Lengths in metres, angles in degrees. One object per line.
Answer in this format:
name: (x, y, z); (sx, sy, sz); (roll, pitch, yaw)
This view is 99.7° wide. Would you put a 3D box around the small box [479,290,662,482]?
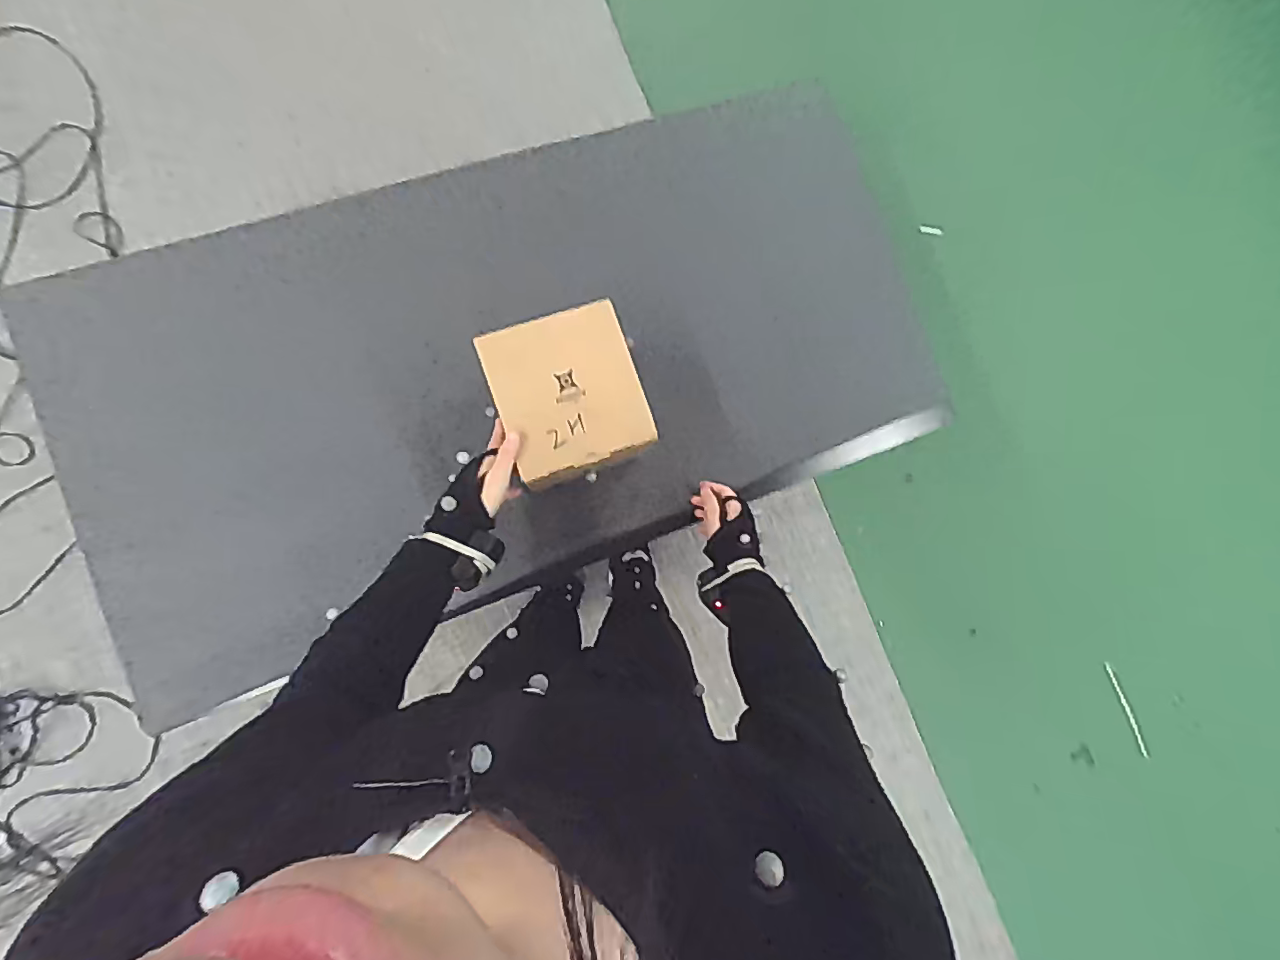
small box: (-0.089, -0.107, 0.689); (0.168, 0.176, 0.179); (-20, 89, -8)
